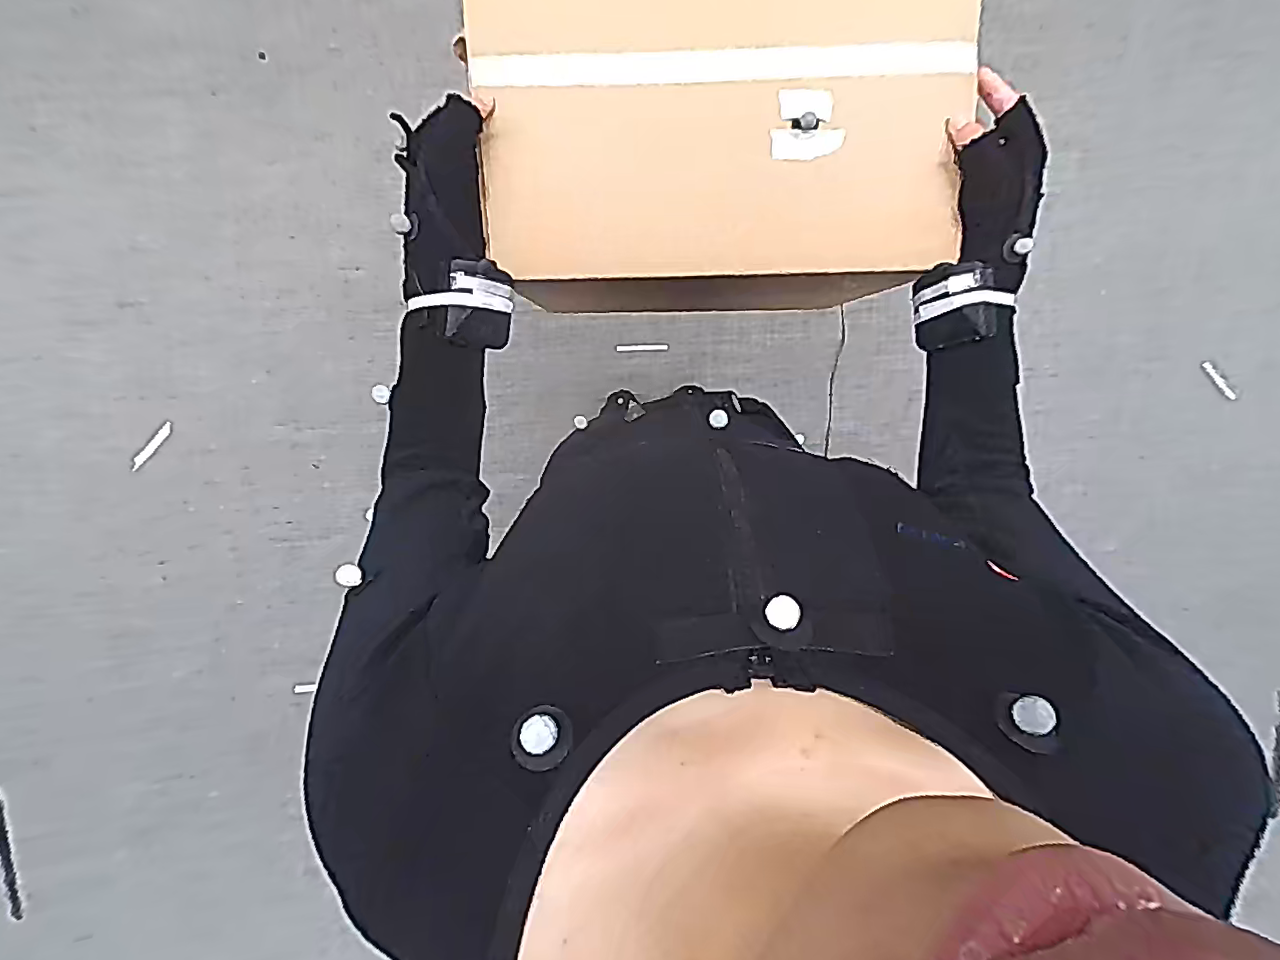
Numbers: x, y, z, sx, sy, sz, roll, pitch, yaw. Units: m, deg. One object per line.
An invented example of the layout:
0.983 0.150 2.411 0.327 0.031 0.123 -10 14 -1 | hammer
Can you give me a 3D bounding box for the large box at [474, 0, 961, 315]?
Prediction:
0.062 -0.365 0.598 0.408 0.320 0.320 -2 102 0 | large box
